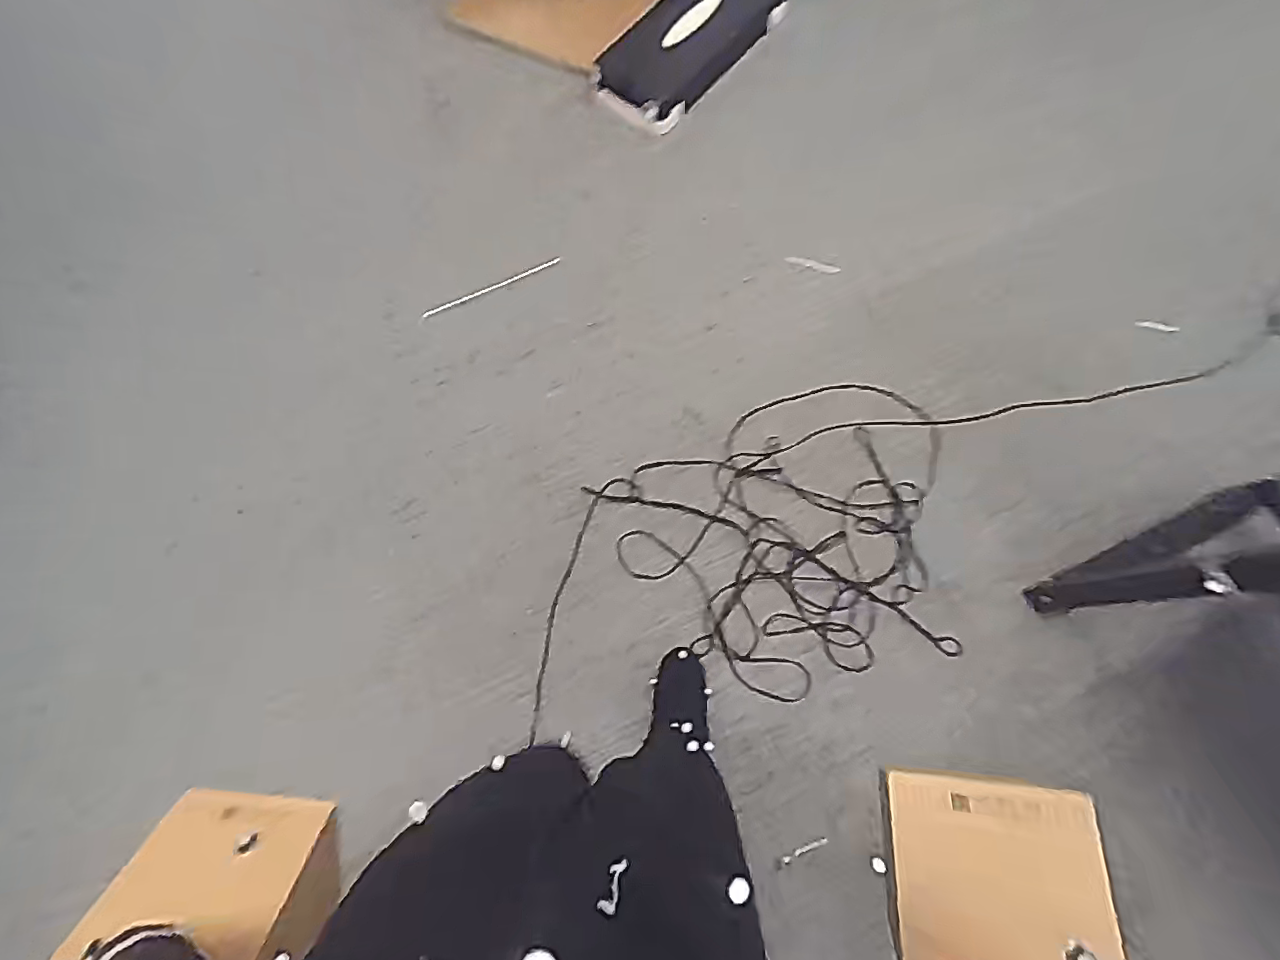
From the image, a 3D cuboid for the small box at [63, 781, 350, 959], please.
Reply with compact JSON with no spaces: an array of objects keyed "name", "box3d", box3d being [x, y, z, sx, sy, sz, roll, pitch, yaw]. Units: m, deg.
[{"name":"small box","box3d":[-0.431,0.463,0.577,0.168,0.176,0.179,9,113,-4]}]
